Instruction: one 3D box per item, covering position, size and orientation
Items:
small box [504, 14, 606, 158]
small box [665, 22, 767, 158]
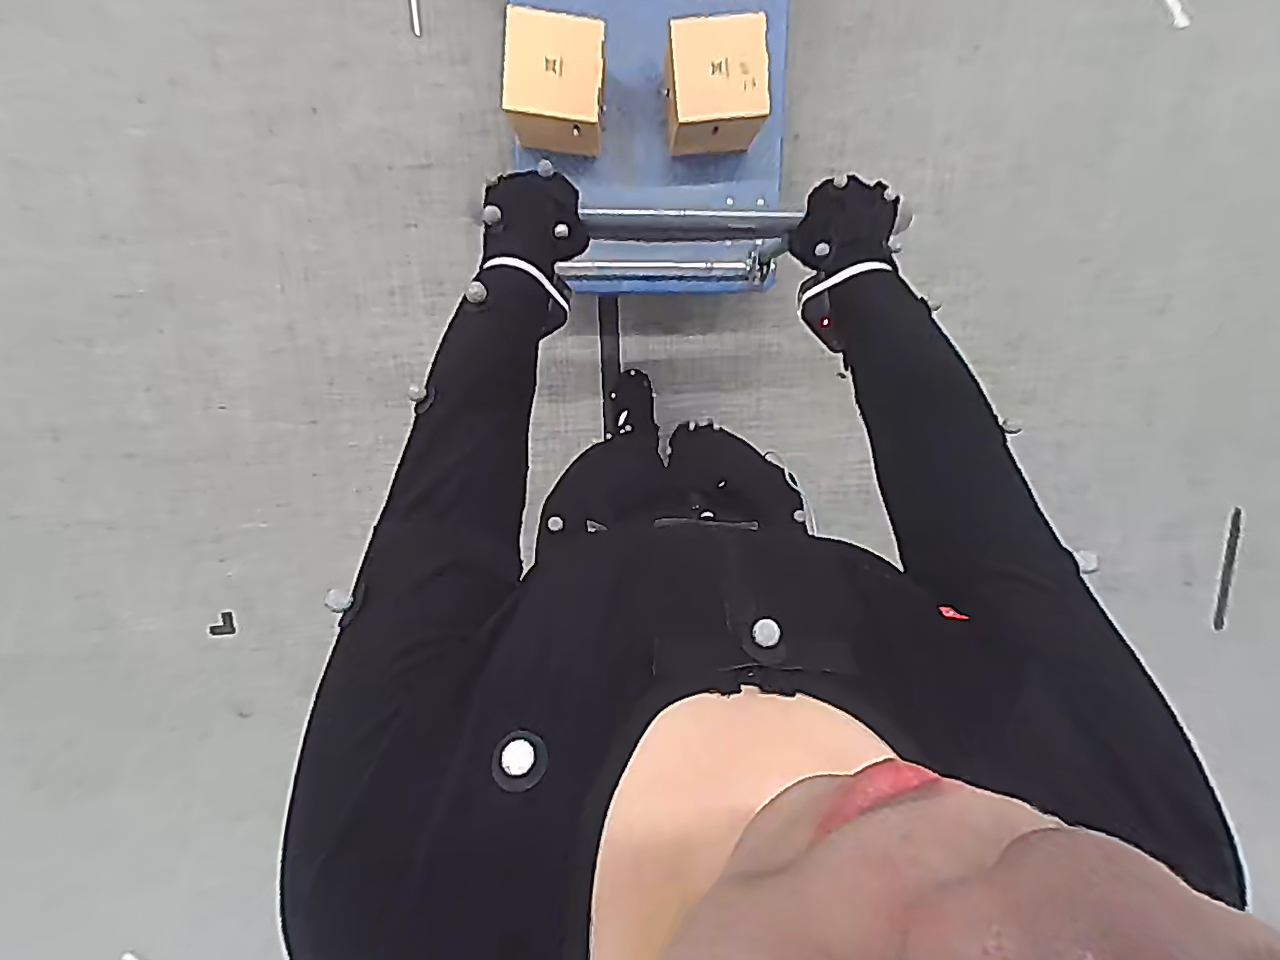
[{"bbox_3d":[-0.161,-0.757,1.061,0.179,0.176,0.168,5,102,-5],"label":"small box"},{"bbox_3d":[0.143,-0.762,1.075,0.179,0.176,0.168,-6,102,-2],"label":"small box"}]
